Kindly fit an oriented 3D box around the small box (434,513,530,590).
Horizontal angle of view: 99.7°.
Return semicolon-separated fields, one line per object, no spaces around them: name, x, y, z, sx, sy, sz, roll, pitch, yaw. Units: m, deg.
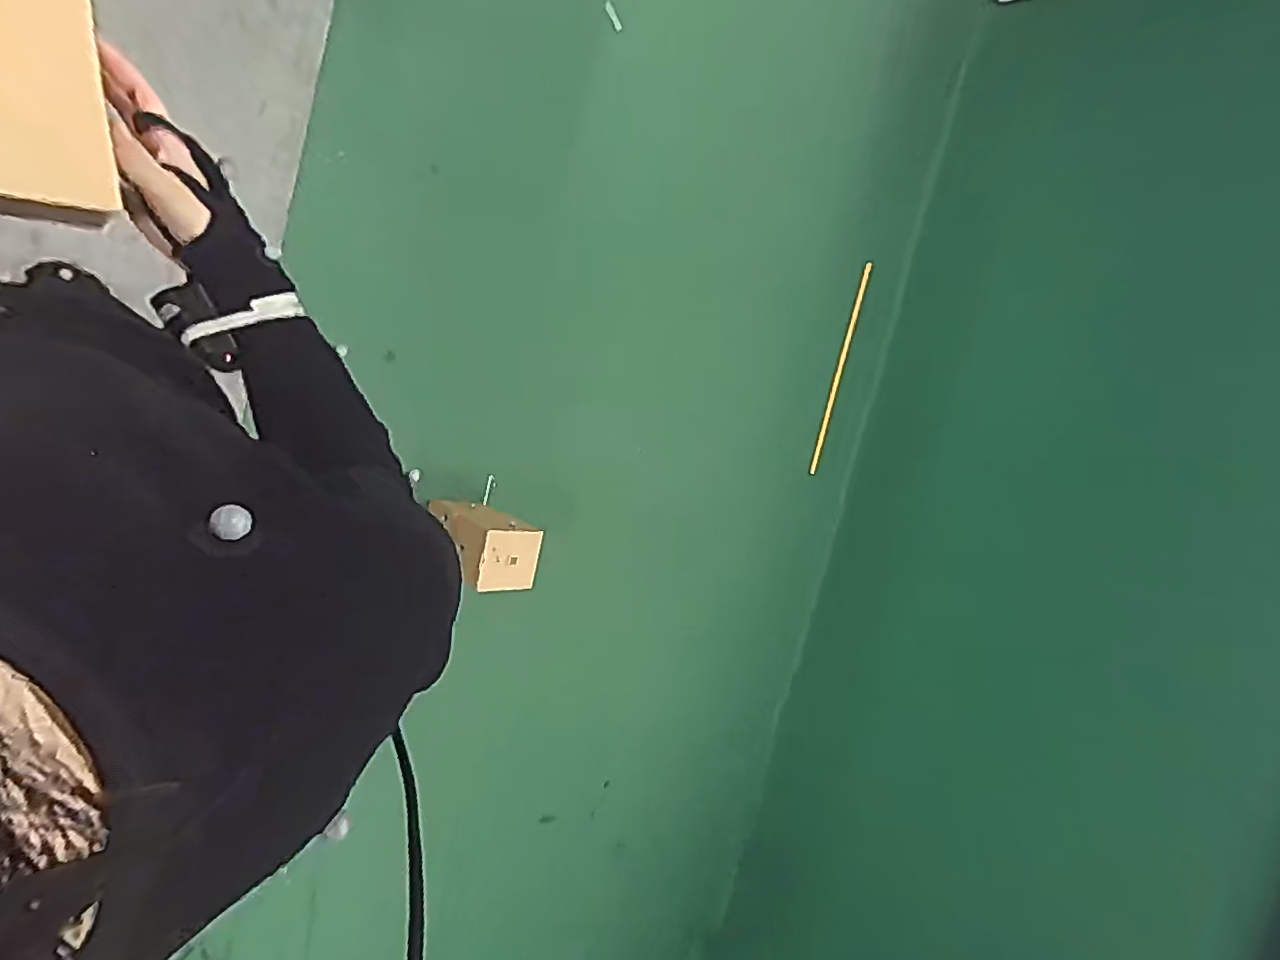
small box;-0.436;0.193;1.485;0.179;0.176;0.168;8;96;-47

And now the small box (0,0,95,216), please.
small box;-0.417;-0.251;0.284;0.168;0.176;0.179;-12;112;-46
